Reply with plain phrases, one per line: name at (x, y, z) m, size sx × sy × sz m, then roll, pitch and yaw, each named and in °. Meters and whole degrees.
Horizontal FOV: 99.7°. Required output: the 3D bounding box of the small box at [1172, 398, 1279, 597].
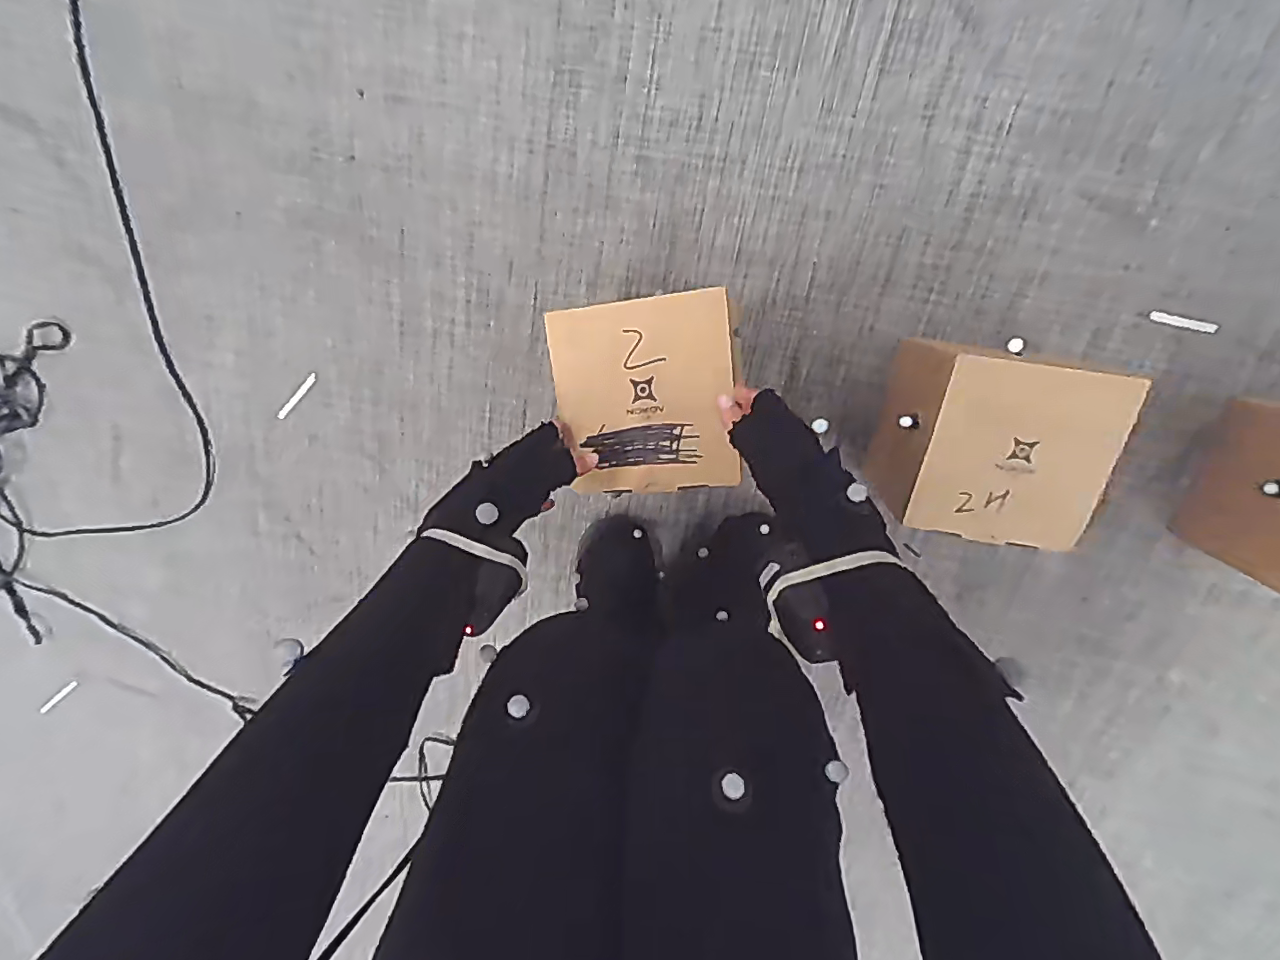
small box at (0.734, 0.023, 0.570) m, size 0.168 × 0.176 × 0.179 m, roll 7°, pitch 110°, yaw 5°

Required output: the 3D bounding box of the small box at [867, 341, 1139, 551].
small box at (0.367, -0.049, 0.592) m, size 0.168 × 0.176 × 0.179 m, roll 10°, pitch 111°, yaw 6°
